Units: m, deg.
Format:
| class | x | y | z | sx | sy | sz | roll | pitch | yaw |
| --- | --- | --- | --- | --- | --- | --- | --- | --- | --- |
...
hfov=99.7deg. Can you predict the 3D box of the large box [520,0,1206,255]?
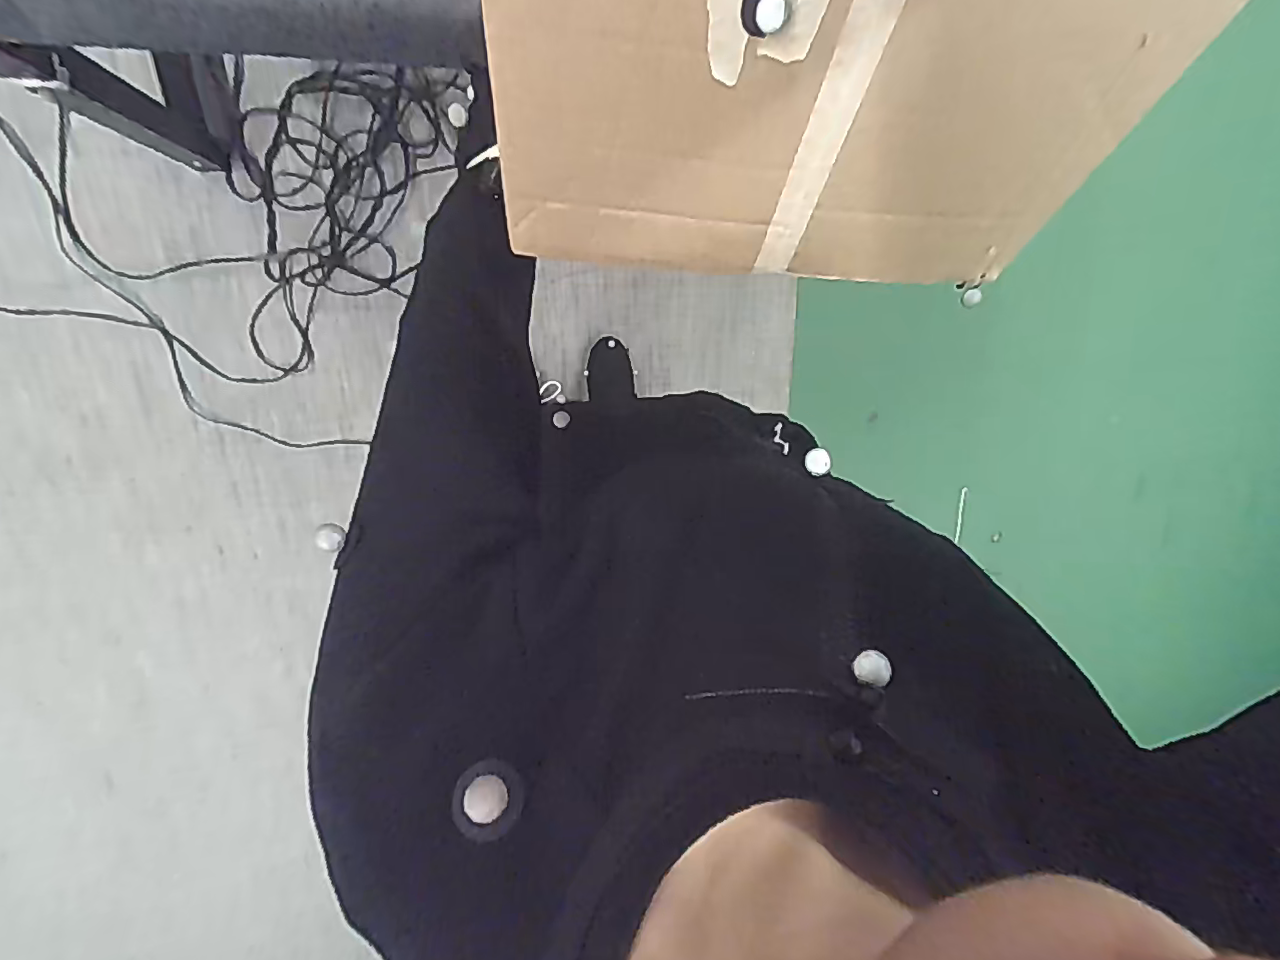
| class | x | y | z | sx | sy | sz | roll | pitch | yaw |
| --- | --- | --- | --- | --- | --- | --- | --- | --- | --- |
| large box | 0.102 | -0.374 | 0.239 | 0.320 | 0.408 | 0.320 | 1 | 65 | -6 |
